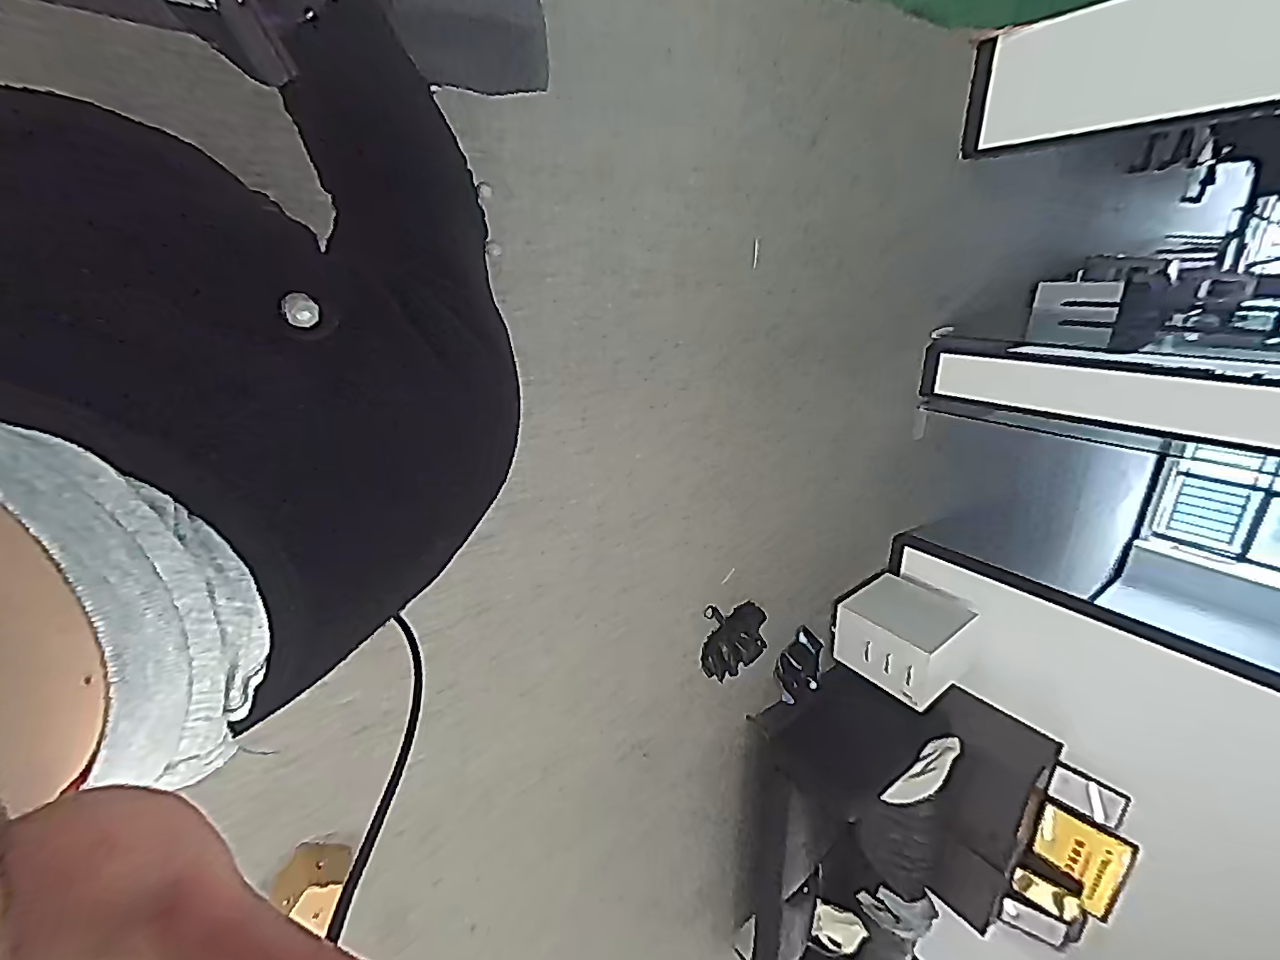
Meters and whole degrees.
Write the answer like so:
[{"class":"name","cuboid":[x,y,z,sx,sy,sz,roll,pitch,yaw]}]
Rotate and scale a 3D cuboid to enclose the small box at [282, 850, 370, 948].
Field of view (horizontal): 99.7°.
[{"class":"small box","cuboid":[-0.972,1.277,1.661,0.168,0.176,0.179,37,83,-40]}]
